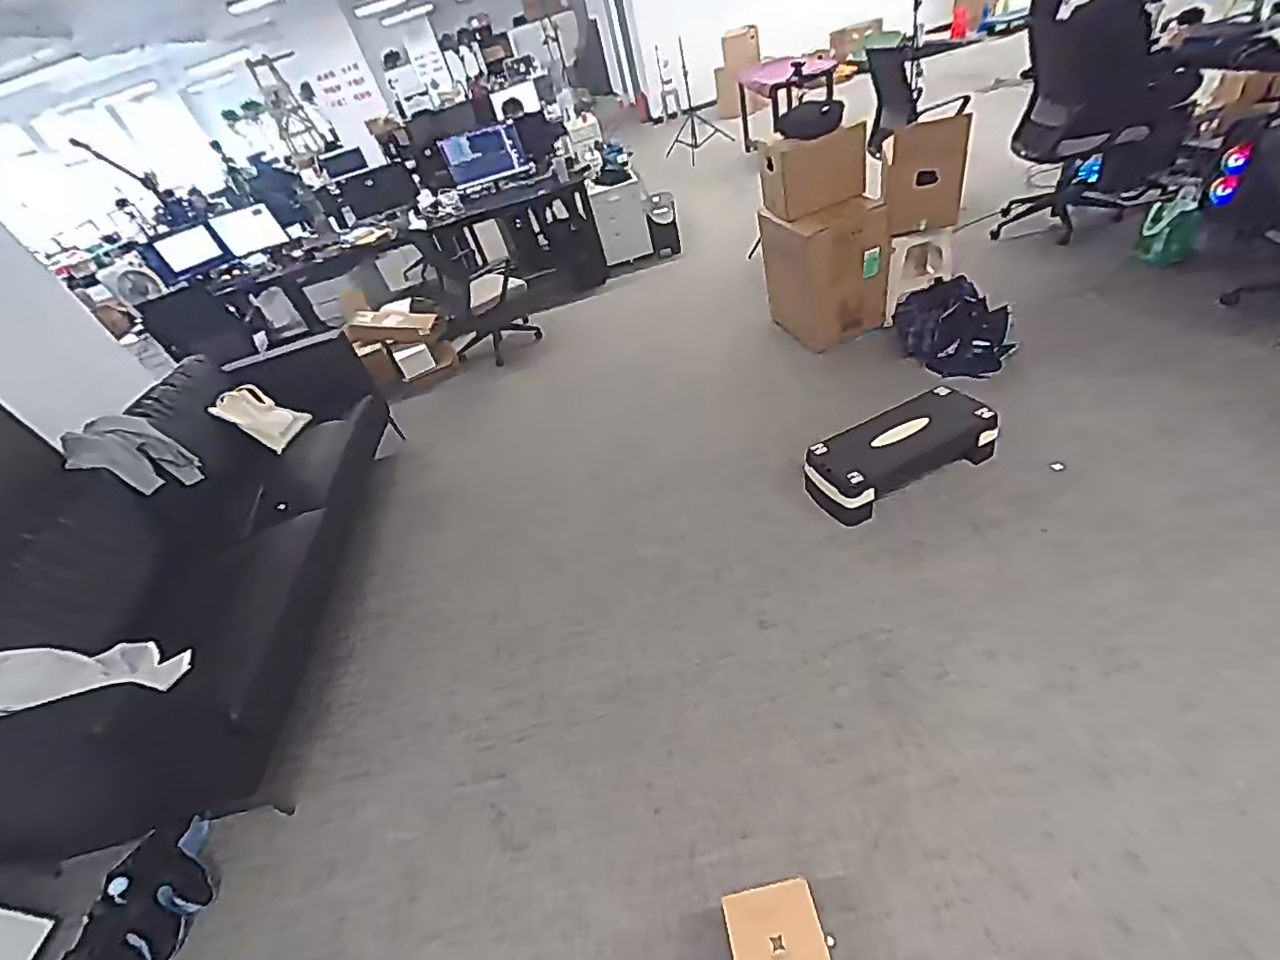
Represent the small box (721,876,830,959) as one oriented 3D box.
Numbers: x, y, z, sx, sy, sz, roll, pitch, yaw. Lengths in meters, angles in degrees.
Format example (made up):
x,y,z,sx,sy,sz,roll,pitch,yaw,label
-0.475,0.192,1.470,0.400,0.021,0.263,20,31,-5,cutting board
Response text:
x,y,z,sx,sy,sz,roll,pitch,yaw,label
0.260,0.870,0.995,0.168,0.176,0.179,-16,39,3,small box
